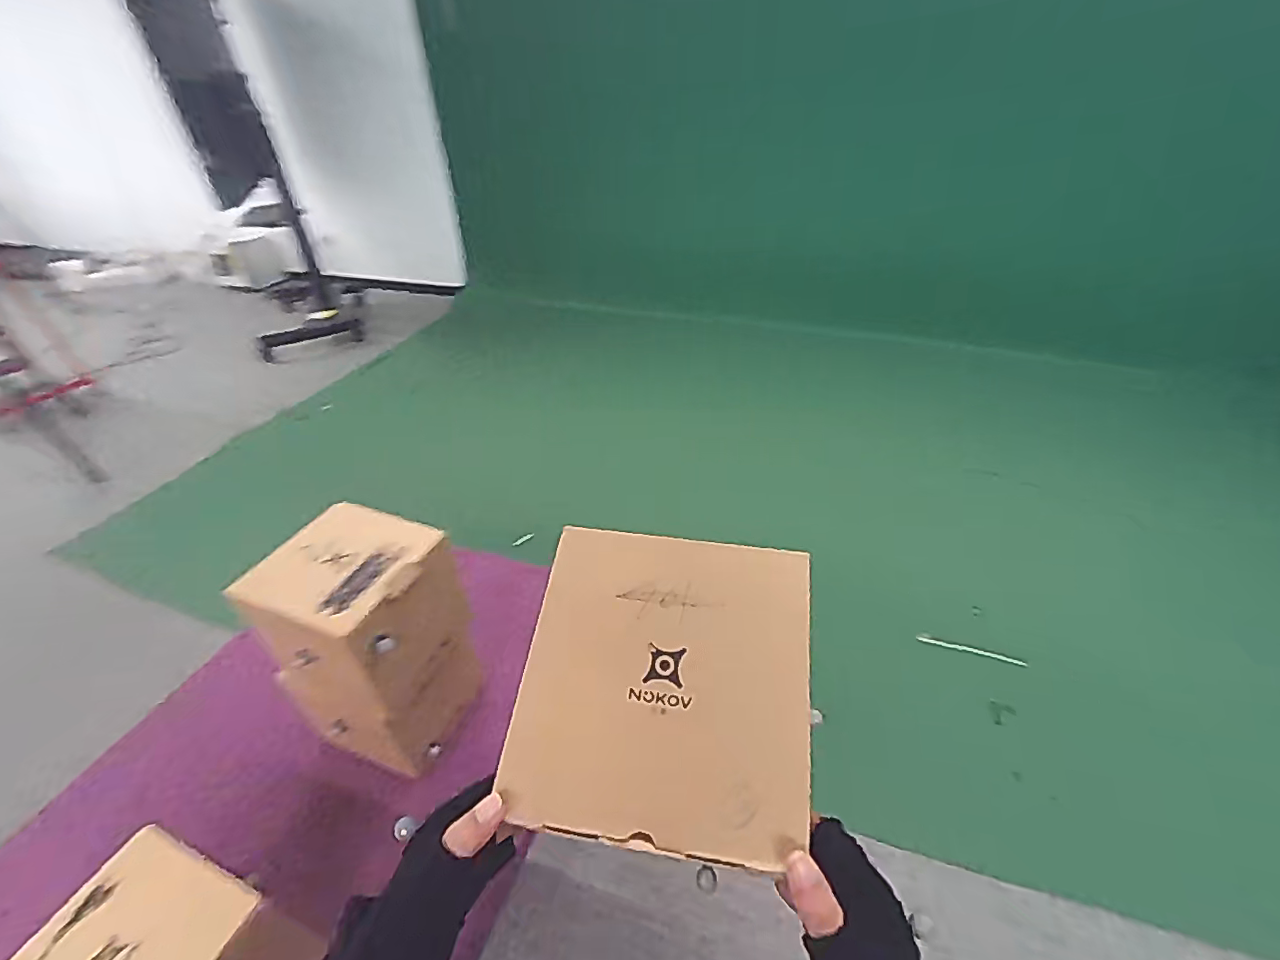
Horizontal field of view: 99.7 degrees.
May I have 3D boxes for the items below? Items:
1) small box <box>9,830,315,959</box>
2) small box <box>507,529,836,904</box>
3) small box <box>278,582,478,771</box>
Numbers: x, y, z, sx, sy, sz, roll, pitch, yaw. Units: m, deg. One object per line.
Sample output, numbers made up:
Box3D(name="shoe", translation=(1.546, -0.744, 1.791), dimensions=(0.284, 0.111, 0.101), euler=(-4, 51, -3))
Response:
Box3D(name="small box", translation=(-0.462, 0.486, 0.522), dimensions=(0.179, 0.176, 0.168), euler=(14, 40, 17))
Box3D(name="small box", translation=(0.032, 0.158, 0.375), dimensions=(0.168, 0.176, 0.179), euler=(7, 58, 10))
Box3D(name="small box", translation=(-0.358, 0.282, 0.775), dimensions=(0.179, 0.176, 0.168), euler=(15, 39, 18))
